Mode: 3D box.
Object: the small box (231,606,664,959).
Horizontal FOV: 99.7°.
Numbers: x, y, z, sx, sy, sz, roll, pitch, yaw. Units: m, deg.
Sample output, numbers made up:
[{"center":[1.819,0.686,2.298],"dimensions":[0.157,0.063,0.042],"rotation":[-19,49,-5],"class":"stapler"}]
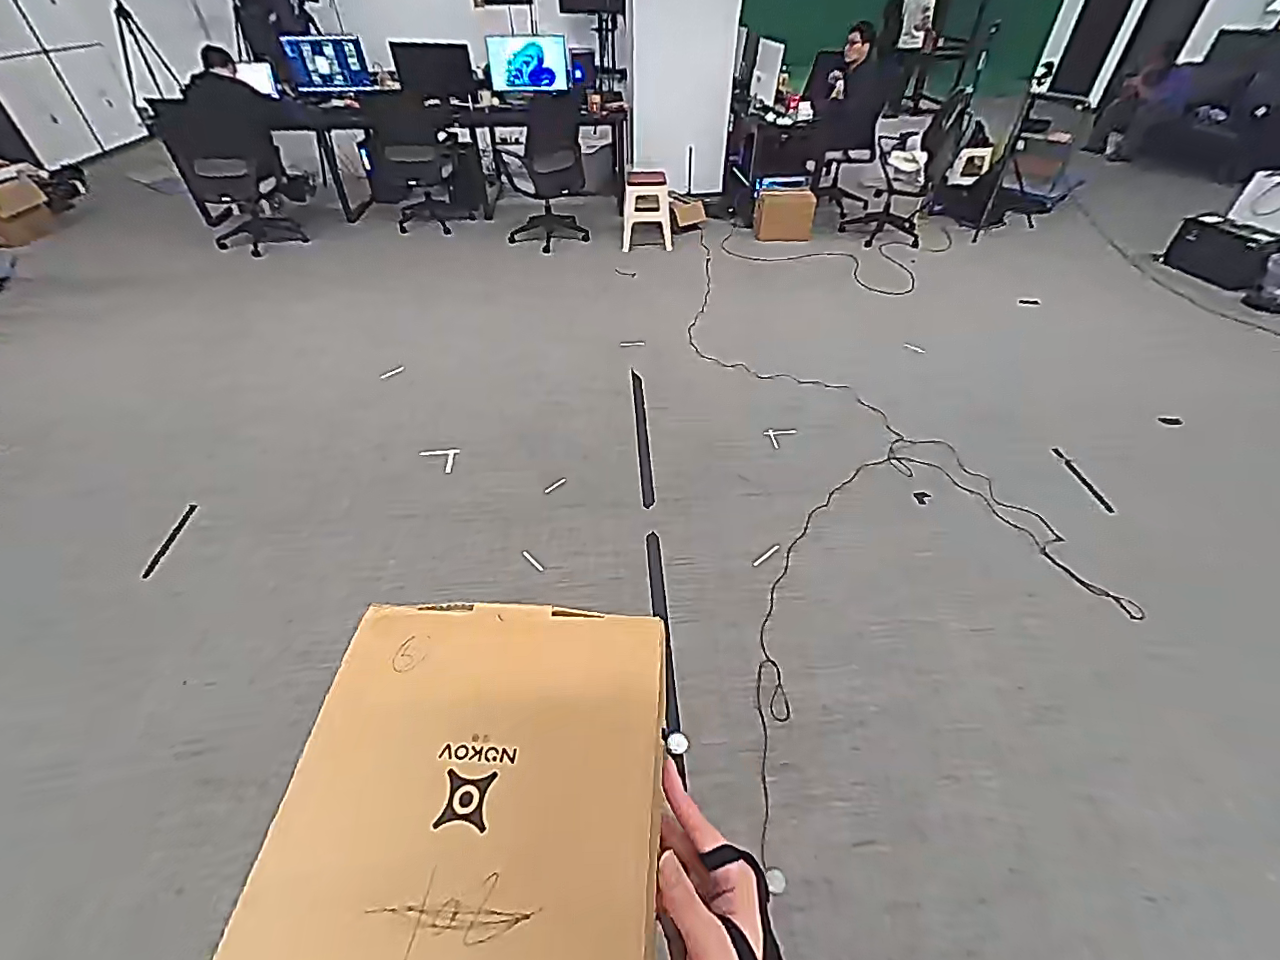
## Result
[{"center":[-0.072,0.193,0.313],"dimensions":[0.168,0.176,0.179],"rotation":[1,51,5],"class":"small box"}]
